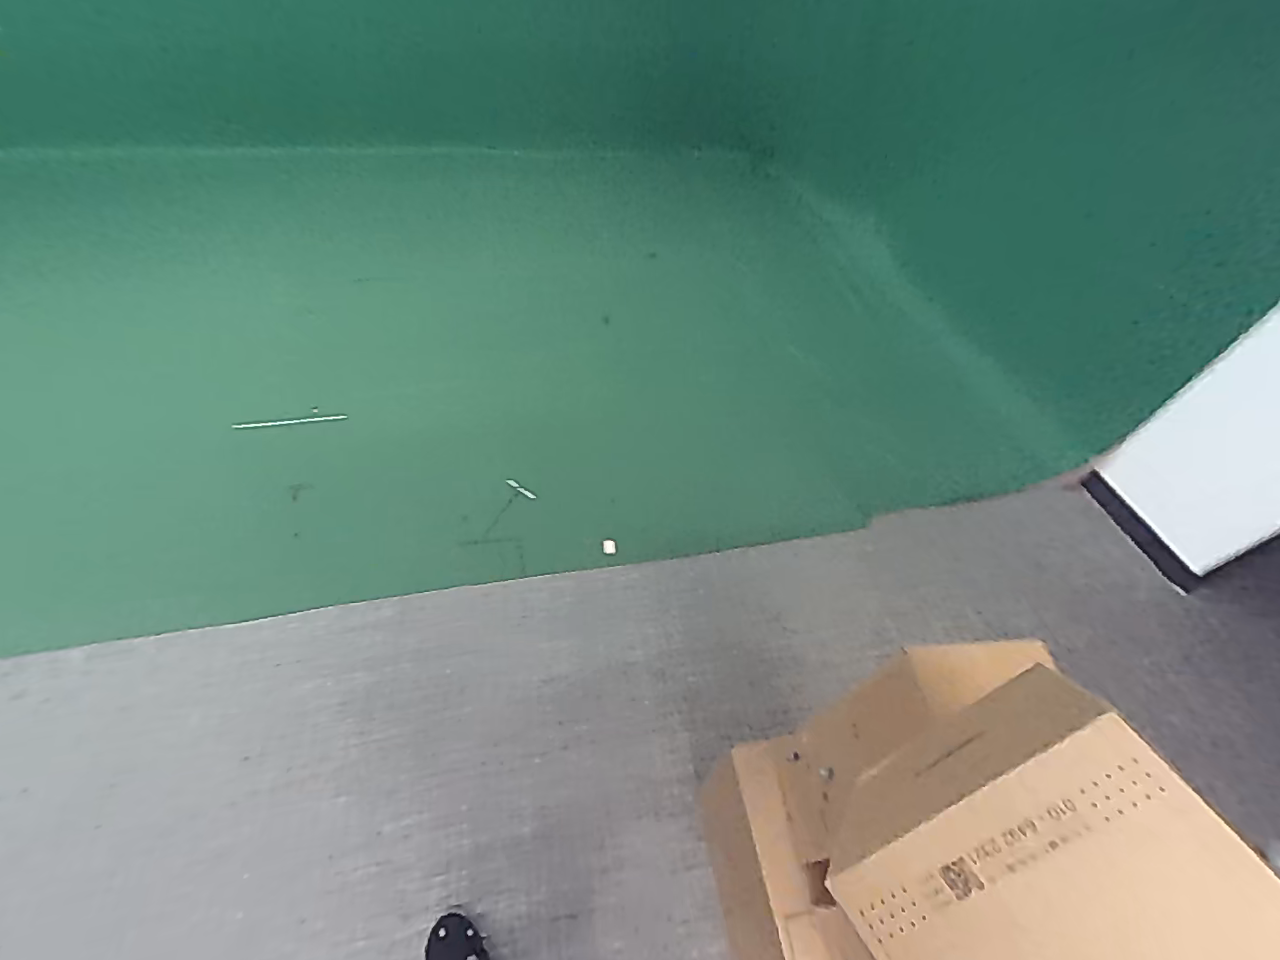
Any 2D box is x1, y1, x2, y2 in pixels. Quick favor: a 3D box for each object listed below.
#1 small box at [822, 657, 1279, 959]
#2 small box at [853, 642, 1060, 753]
[{"bbox_3d":[0.226,0.225,0.309,0.168,0.179,0.176,-42,66,14],"label":"small box"},{"bbox_3d":[0.367,0.299,0.609,0.168,0.176,0.179,-1,53,-6],"label":"small box"}]
